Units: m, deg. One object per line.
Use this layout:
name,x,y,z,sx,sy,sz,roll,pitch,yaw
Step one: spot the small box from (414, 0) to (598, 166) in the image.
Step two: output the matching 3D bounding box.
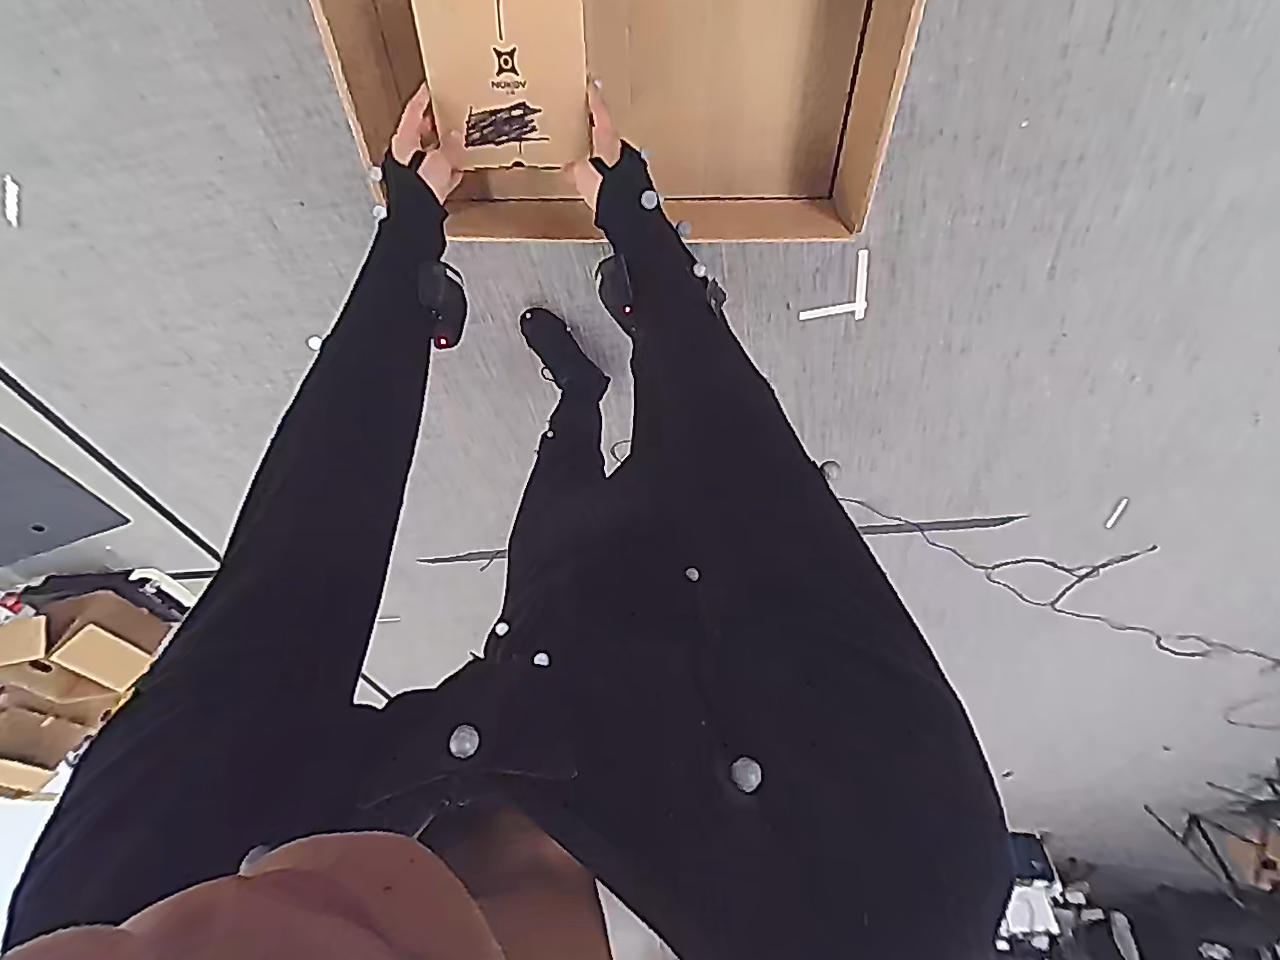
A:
small box,-0.136,-0.471,0.610,0.168,0.176,0.179,0,130,-1
